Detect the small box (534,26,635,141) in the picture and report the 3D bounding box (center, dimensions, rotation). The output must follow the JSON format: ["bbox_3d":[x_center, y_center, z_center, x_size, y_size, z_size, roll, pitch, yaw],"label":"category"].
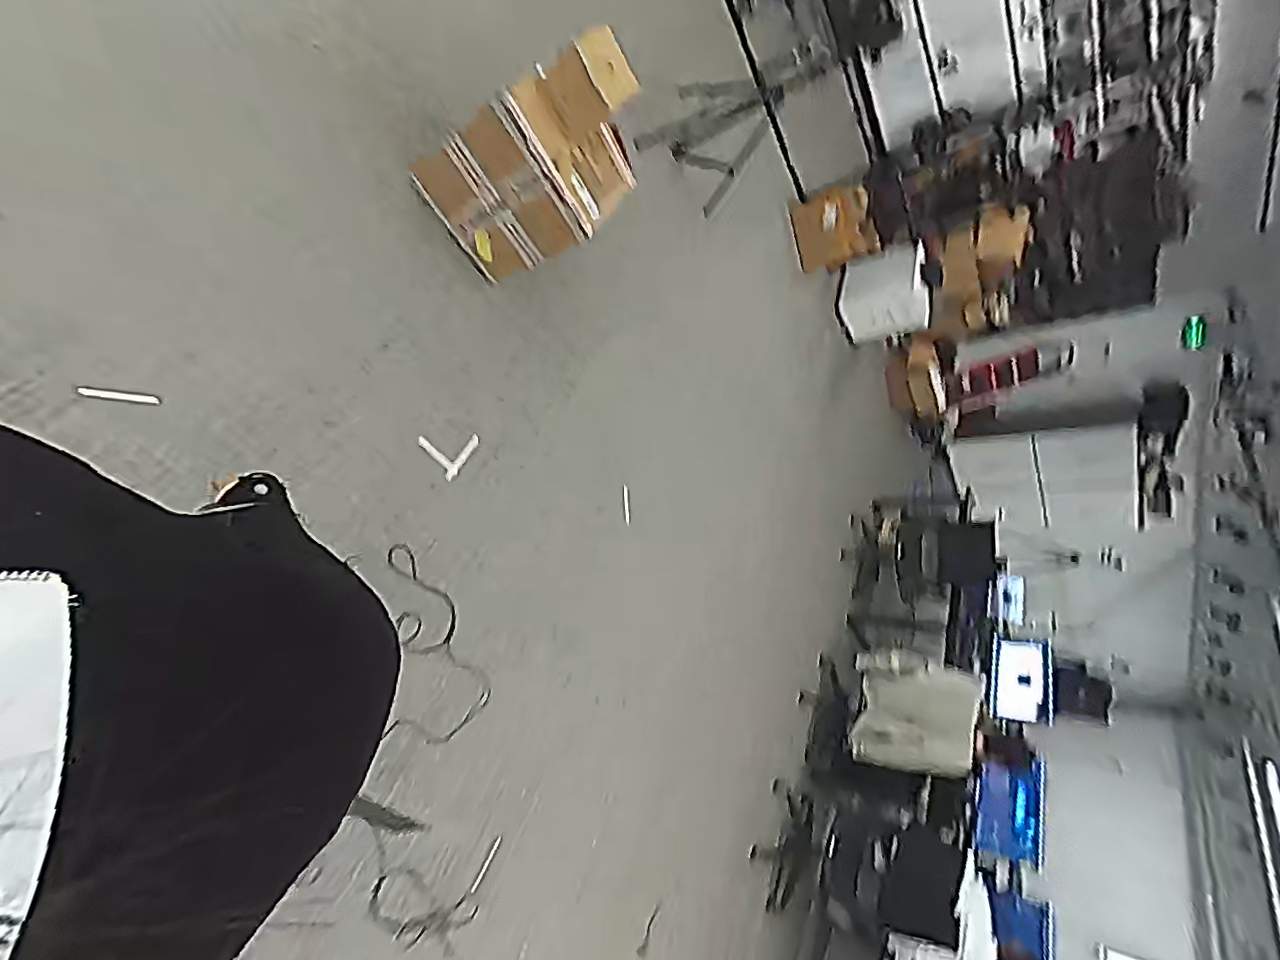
[{"bbox_3d":[-0.149,-1.051,1.442,0.168,0.176,0.179,53,52,-31],"label":"small box"}]
